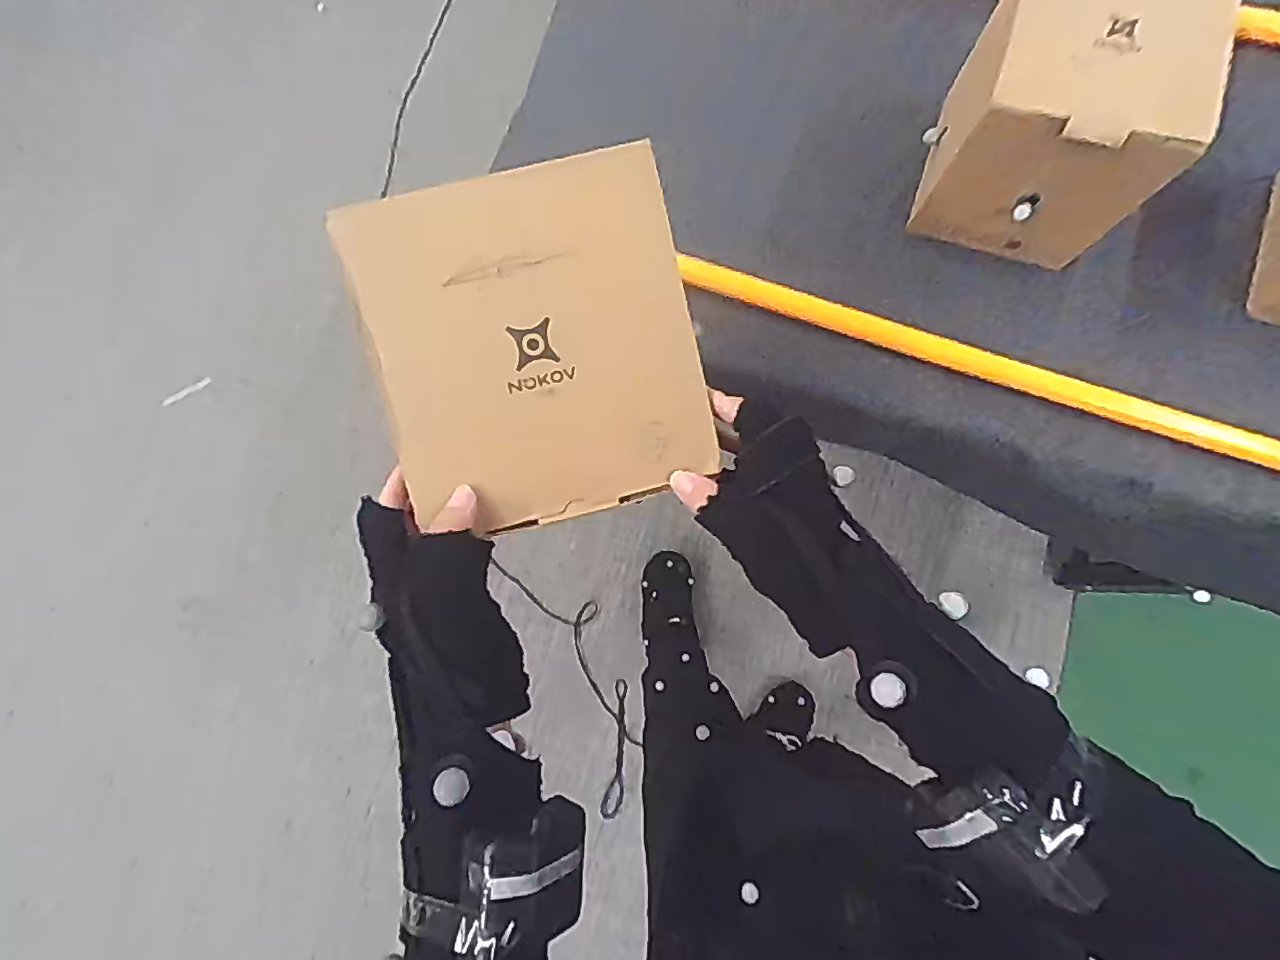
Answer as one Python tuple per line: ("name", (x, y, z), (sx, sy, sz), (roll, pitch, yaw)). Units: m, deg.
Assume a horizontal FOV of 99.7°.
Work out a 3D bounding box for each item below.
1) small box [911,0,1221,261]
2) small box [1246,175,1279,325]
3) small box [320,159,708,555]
("small box", (0.385, -0.343, 0.522), (0.168, 0.176, 0.179), (15, 80, 8))
("small box", (0.711, -0.235, 0.475), (0.168, 0.176, 0.179), (20, 82, 8))
("small box", (-0.066, -0.070, 0.361), (0.168, 0.176, 0.179), (-15, 97, -4))
